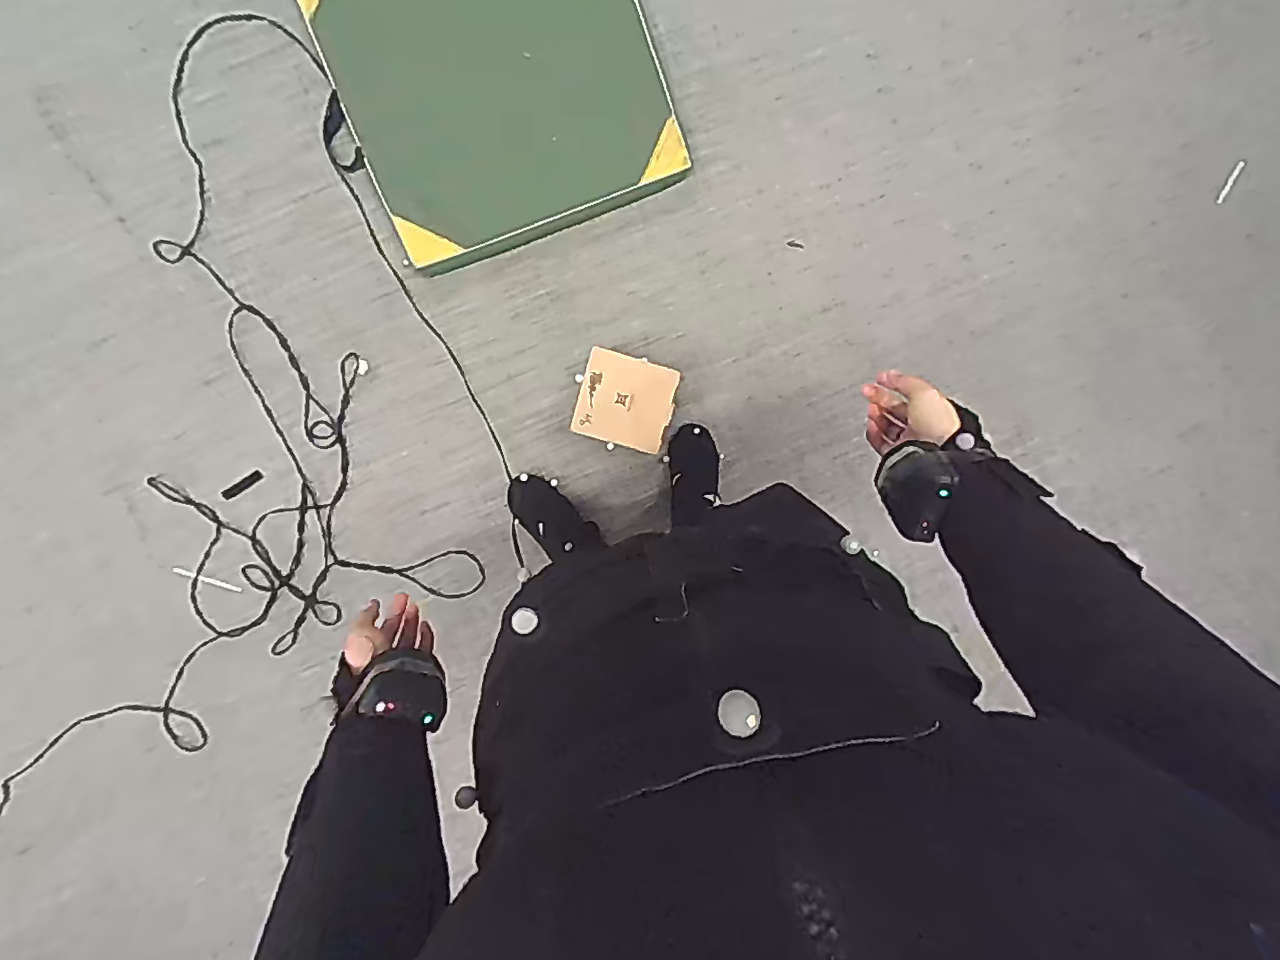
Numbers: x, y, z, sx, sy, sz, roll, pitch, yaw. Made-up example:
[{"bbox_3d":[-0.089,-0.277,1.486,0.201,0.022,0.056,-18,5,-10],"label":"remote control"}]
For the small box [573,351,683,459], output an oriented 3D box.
[{"bbox_3d":[-0.029,-0.150,1.099,0.179,0.176,0.168,16,94,-6],"label":"small box"}]
